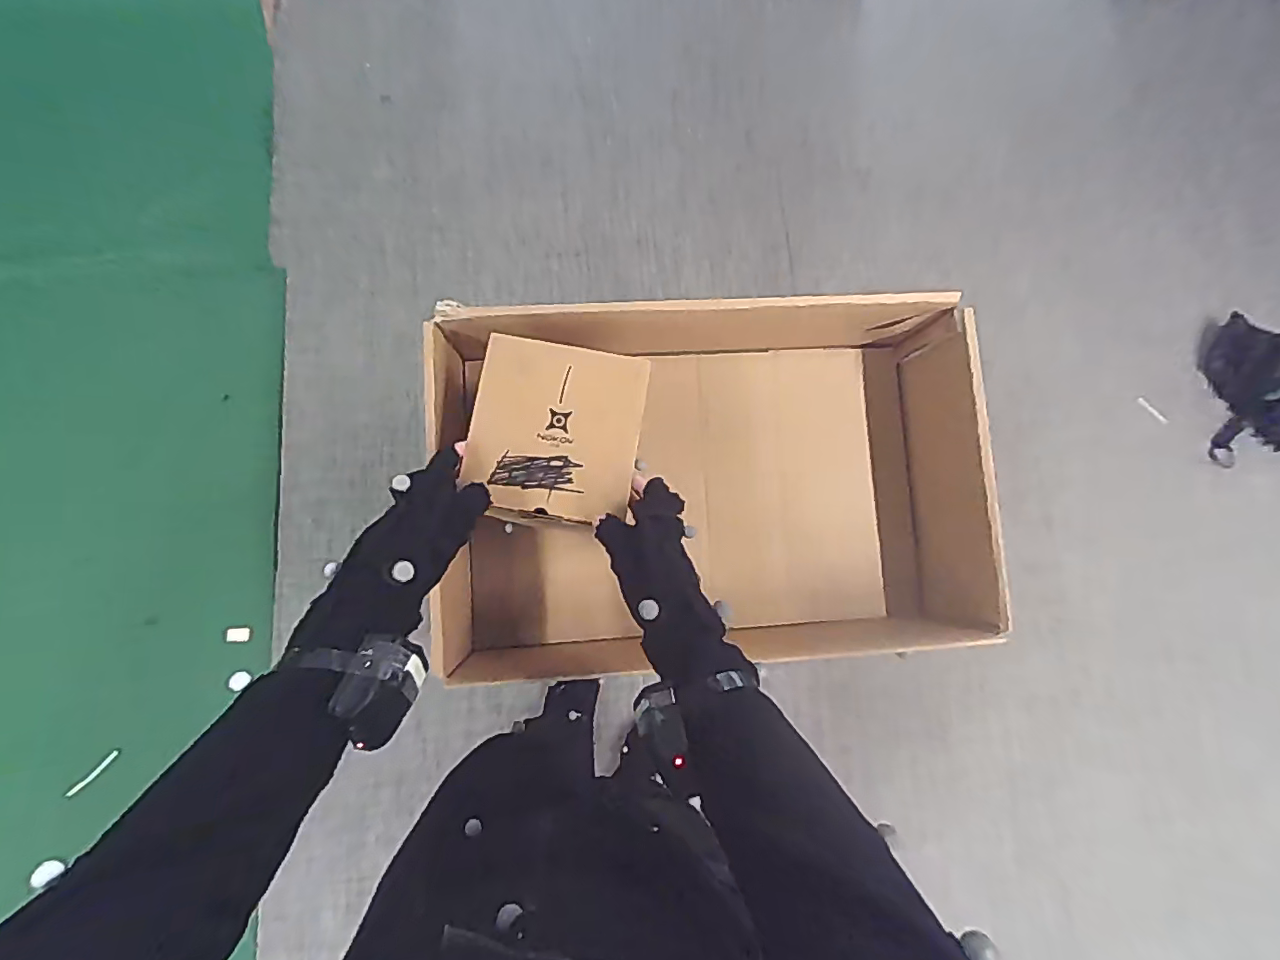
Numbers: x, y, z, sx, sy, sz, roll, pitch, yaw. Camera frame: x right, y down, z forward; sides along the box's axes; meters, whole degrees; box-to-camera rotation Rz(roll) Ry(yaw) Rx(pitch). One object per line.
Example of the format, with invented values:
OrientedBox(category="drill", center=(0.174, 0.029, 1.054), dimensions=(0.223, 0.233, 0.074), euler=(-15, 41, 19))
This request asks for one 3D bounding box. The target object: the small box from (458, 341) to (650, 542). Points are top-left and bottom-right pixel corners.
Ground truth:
OrientedBox(category="small box", center=(-0.086, -0.030, 0.612), dimensions=(0.168, 0.176, 0.179), euler=(9, 79, -2))
